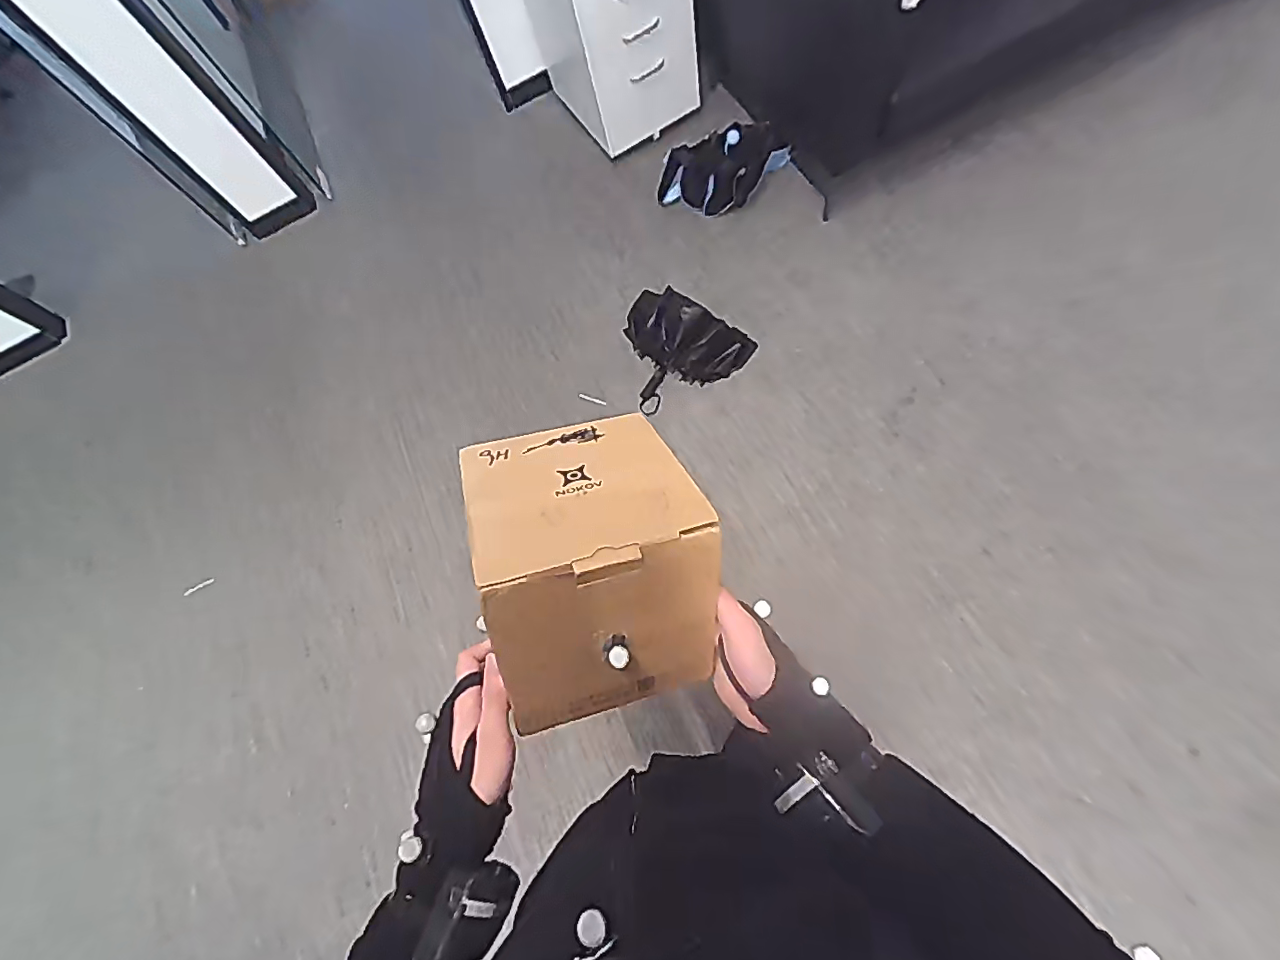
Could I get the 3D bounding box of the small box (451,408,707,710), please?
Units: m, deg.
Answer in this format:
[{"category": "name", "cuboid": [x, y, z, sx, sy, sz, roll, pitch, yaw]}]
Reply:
[{"category": "small box", "cuboid": [-0.053, 0.065, 0.452, 0.168, 0.176, 0.179, -12, 38, -13]}]
